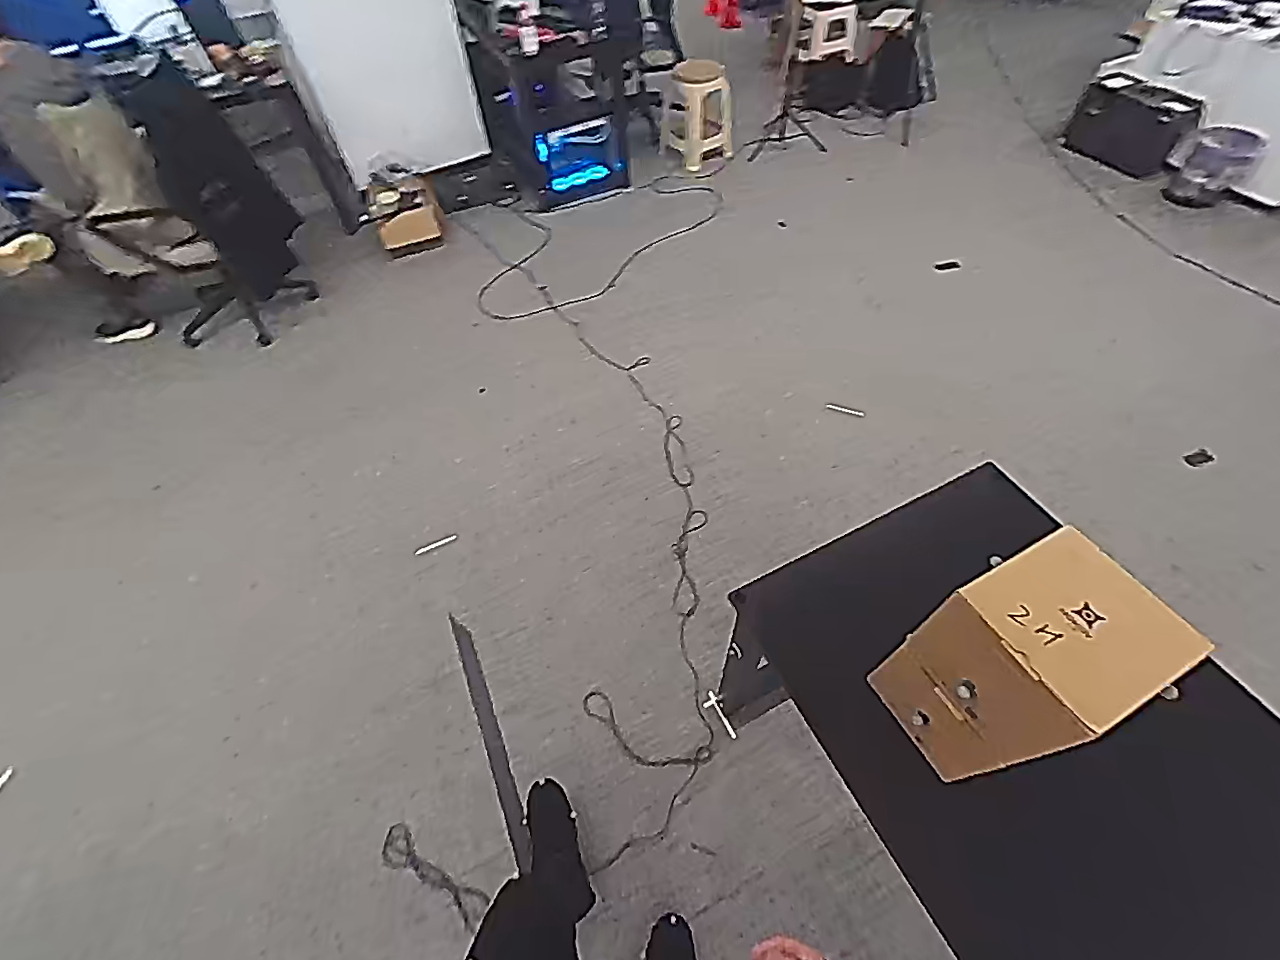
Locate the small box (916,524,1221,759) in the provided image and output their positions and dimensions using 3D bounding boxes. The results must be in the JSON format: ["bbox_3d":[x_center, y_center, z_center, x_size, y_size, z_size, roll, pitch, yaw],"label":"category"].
[{"bbox_3d":[0.456,0.185,0.611,0.179,0.176,0.168,-25,56,-13],"label":"small box"}]

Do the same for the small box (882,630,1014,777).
[{"bbox_3d":[0.463,0.281,0.745,0.179,0.176,0.168,-25,57,-13],"label":"small box"}]
